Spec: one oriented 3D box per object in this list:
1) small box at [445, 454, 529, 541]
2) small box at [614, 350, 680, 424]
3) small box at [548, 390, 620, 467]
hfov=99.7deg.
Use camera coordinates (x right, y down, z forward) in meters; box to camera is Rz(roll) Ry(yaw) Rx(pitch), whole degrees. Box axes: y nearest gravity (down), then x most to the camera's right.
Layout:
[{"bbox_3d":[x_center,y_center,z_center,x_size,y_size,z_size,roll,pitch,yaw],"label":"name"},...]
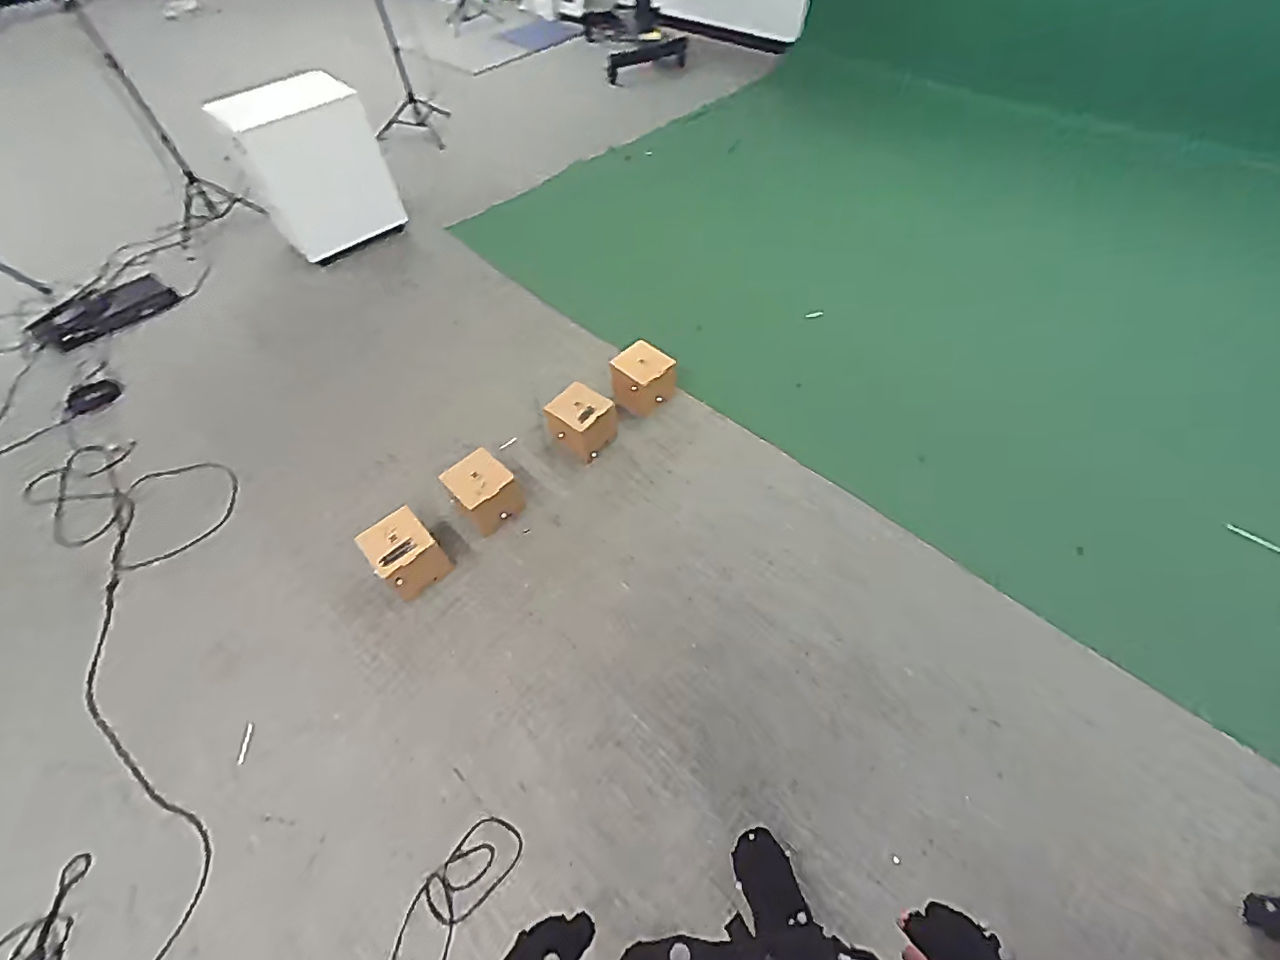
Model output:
[{"bbox_3d":[-0.473,0.058,1.687,0.168,0.176,0.179,-39,62,-23],"label":"small box"},{"bbox_3d":[0.026,-0.336,1.969,0.179,0.176,0.168,37,63,26],"label":"small box"},{"bbox_3d":[-0.184,-0.170,1.850,0.179,0.176,0.168,33,60,25],"label":"small box"}]
